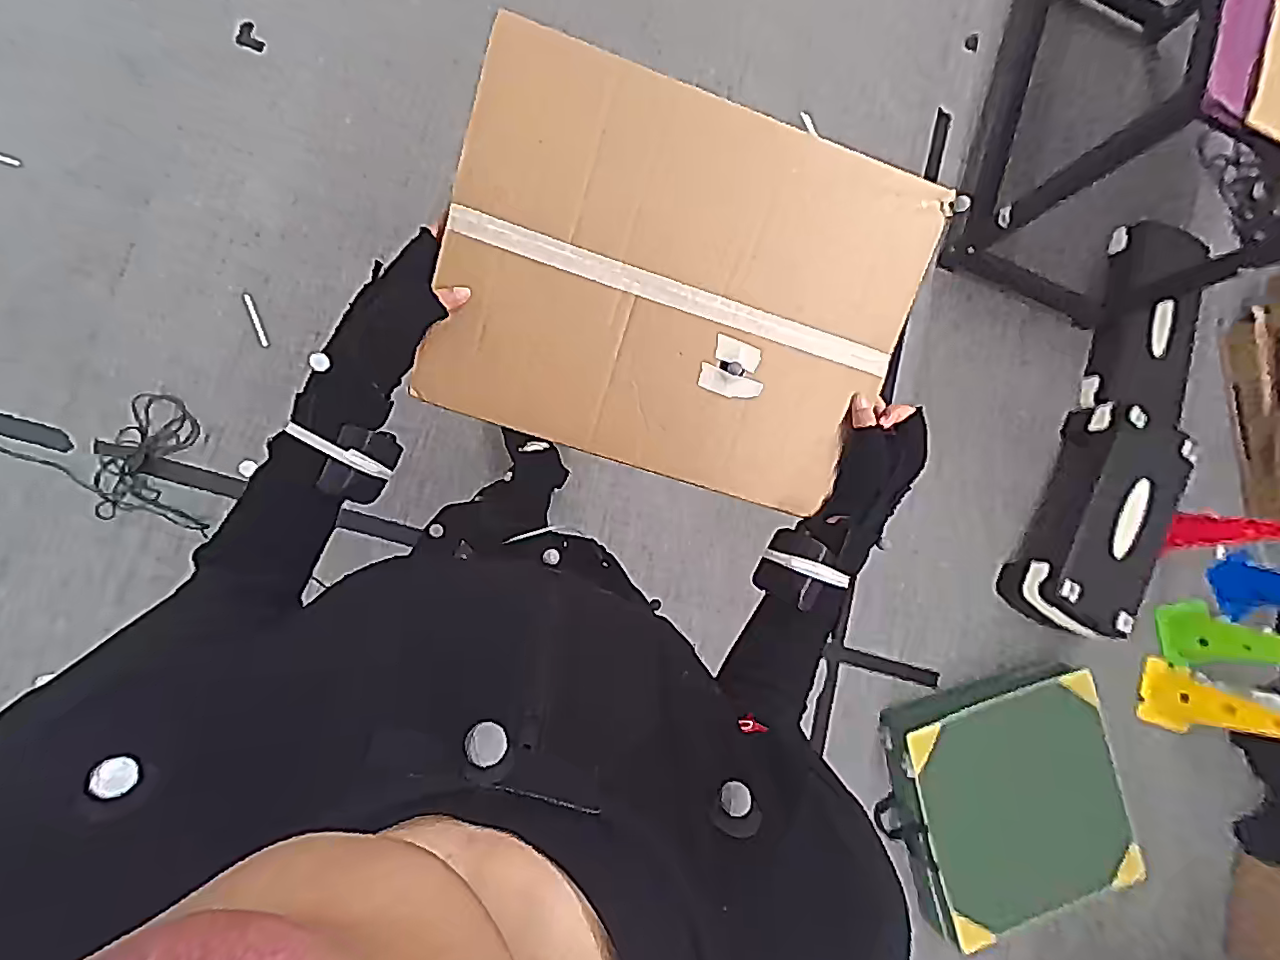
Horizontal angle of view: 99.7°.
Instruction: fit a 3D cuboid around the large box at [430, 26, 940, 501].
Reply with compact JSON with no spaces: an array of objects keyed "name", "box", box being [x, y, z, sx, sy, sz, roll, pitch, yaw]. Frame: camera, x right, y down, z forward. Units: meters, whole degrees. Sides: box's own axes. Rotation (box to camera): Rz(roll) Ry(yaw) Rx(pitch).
[{"name":"large box","box":[0.027,-0.205,0.633,0.408,0.320,0.320,17,102,-8]}]
